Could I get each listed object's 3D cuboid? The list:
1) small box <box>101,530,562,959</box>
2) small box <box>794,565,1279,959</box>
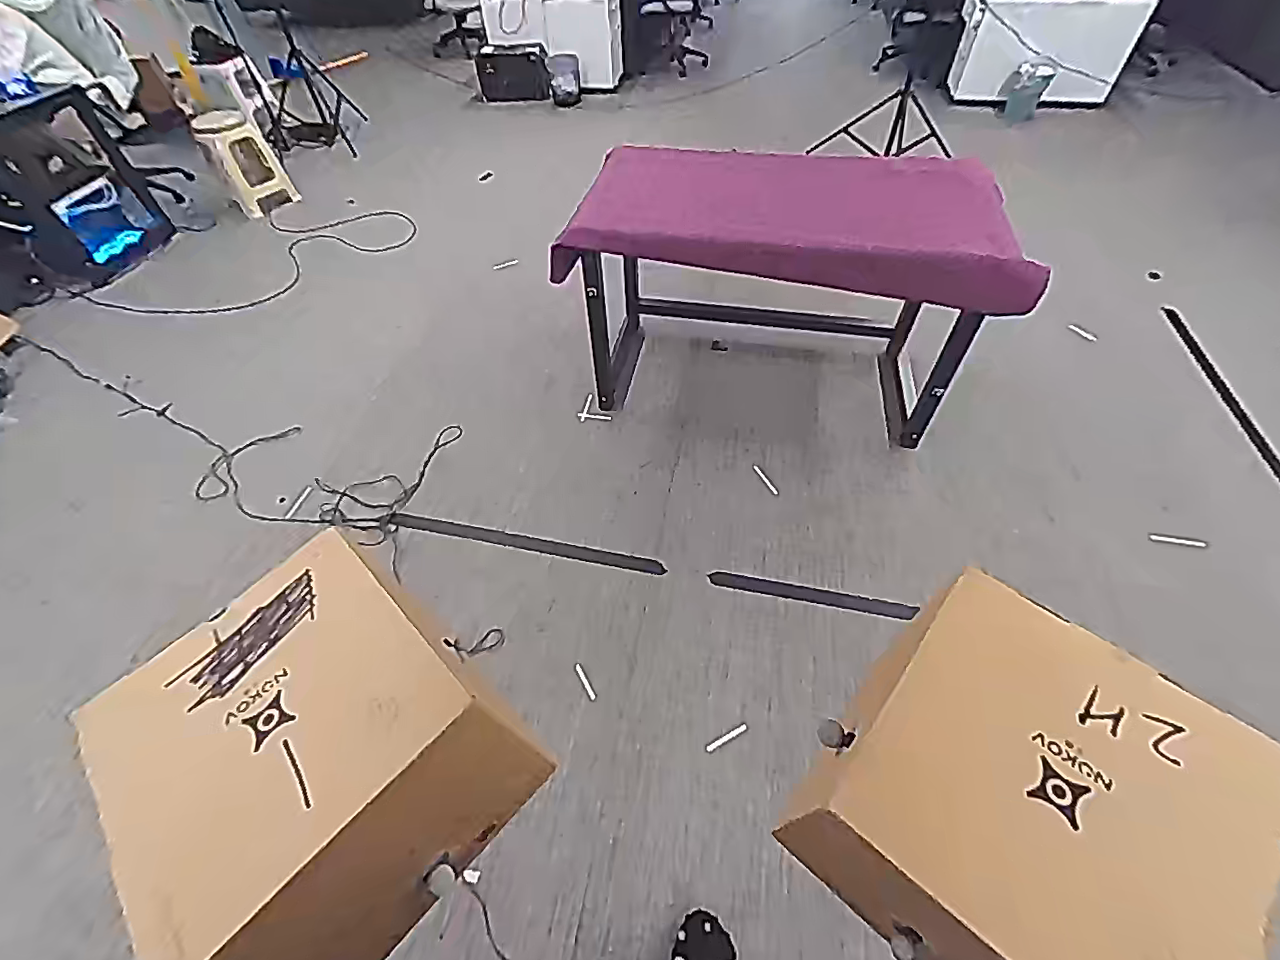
[{"bbox_3d":[-0.180,0.173,0.355,0.179,0.176,0.168,35,65,31],"label":"small box"},{"bbox_3d":[0.213,0.194,0.330,0.168,0.176,0.179,34,61,24],"label":"small box"}]
